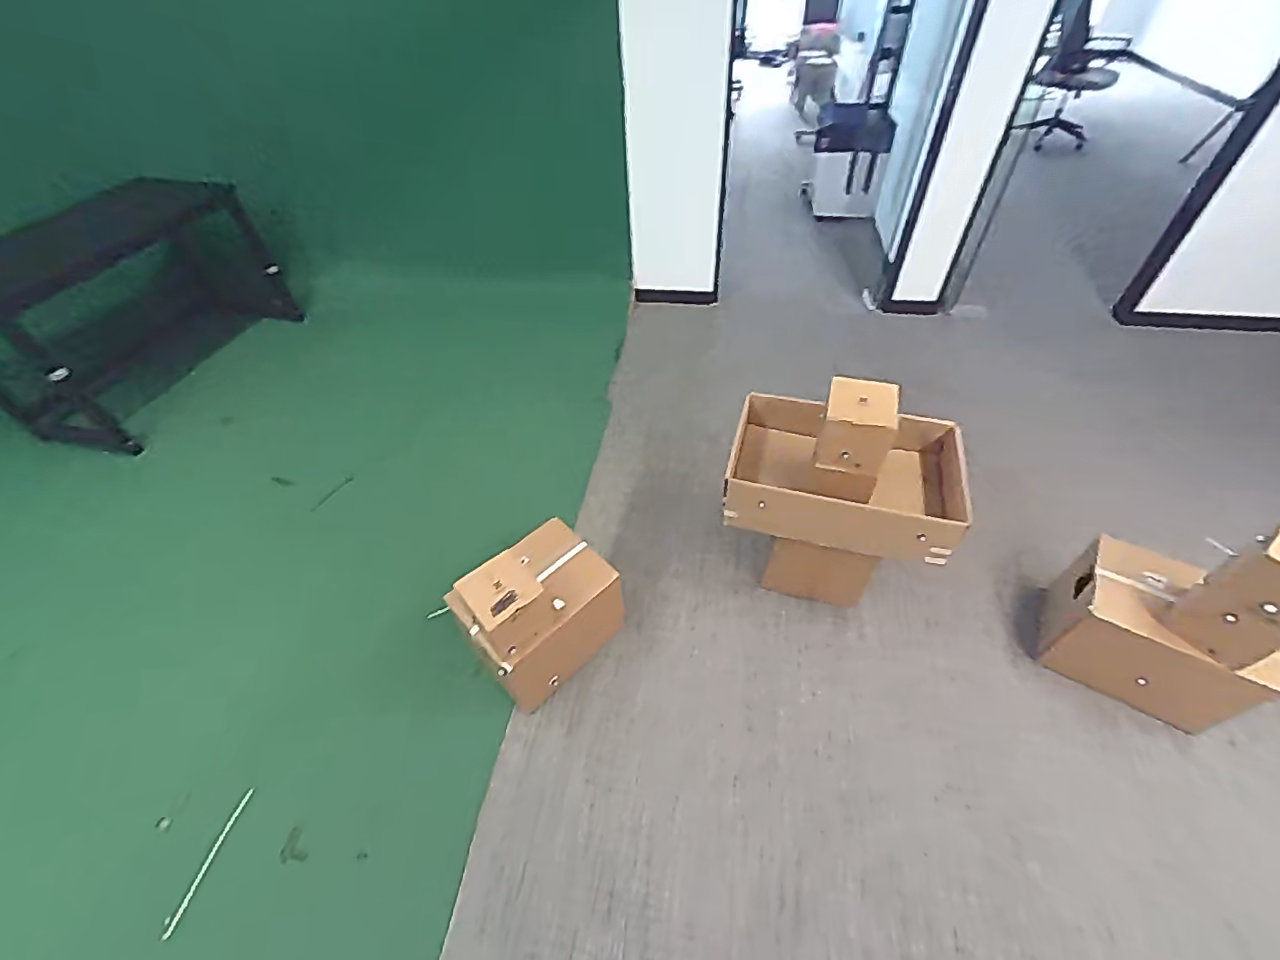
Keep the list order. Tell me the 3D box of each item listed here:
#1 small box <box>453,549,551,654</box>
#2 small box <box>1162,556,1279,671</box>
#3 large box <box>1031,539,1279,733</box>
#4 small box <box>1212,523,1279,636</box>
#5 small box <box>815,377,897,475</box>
[{"bbox_3d":[-0.346,0.319,1.387,0.168,0.176,0.179,-33,54,-27],"label":"small box"},{"bbox_3d":[1.442,0.325,1.316,0.179,0.176,0.168,-31,53,-22],"label":"small box"},{"bbox_3d":[1.432,0.441,1.544,0.408,0.320,0.320,24,52,24],"label":"large box"},{"bbox_3d":[1.438,0.216,1.192,0.179,0.176,0.168,-32,53,-22],"label":"small box"},{"bbox_3d":[0.565,-0.142,1.421,0.168,0.176,0.179,11,50,14],"label":"small box"}]
